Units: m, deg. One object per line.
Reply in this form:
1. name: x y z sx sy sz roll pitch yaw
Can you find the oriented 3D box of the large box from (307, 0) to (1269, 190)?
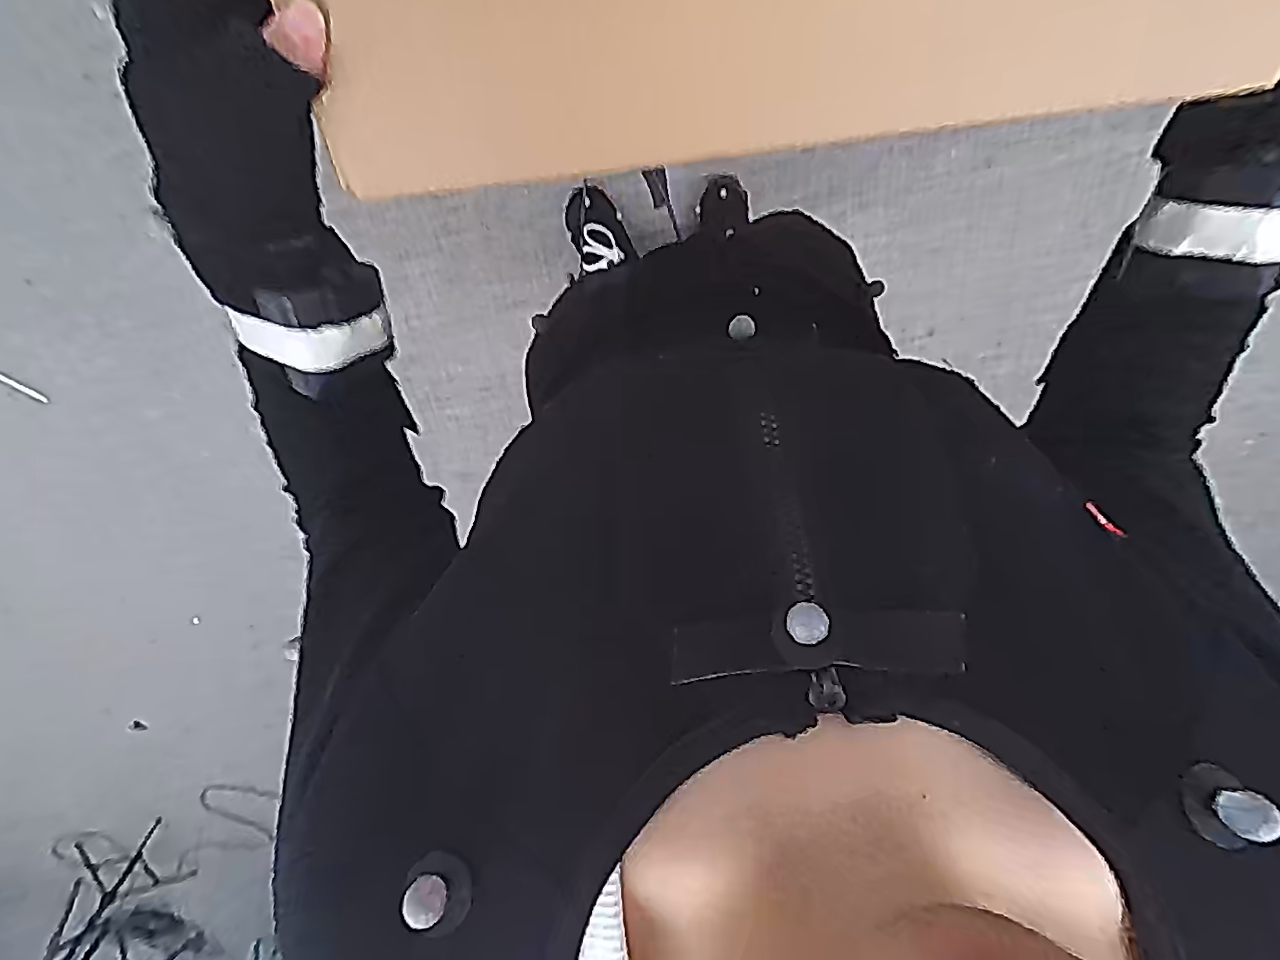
1. large box: 0.046 -0.370 0.277 0.408 0.320 0.320 -6 128 2
